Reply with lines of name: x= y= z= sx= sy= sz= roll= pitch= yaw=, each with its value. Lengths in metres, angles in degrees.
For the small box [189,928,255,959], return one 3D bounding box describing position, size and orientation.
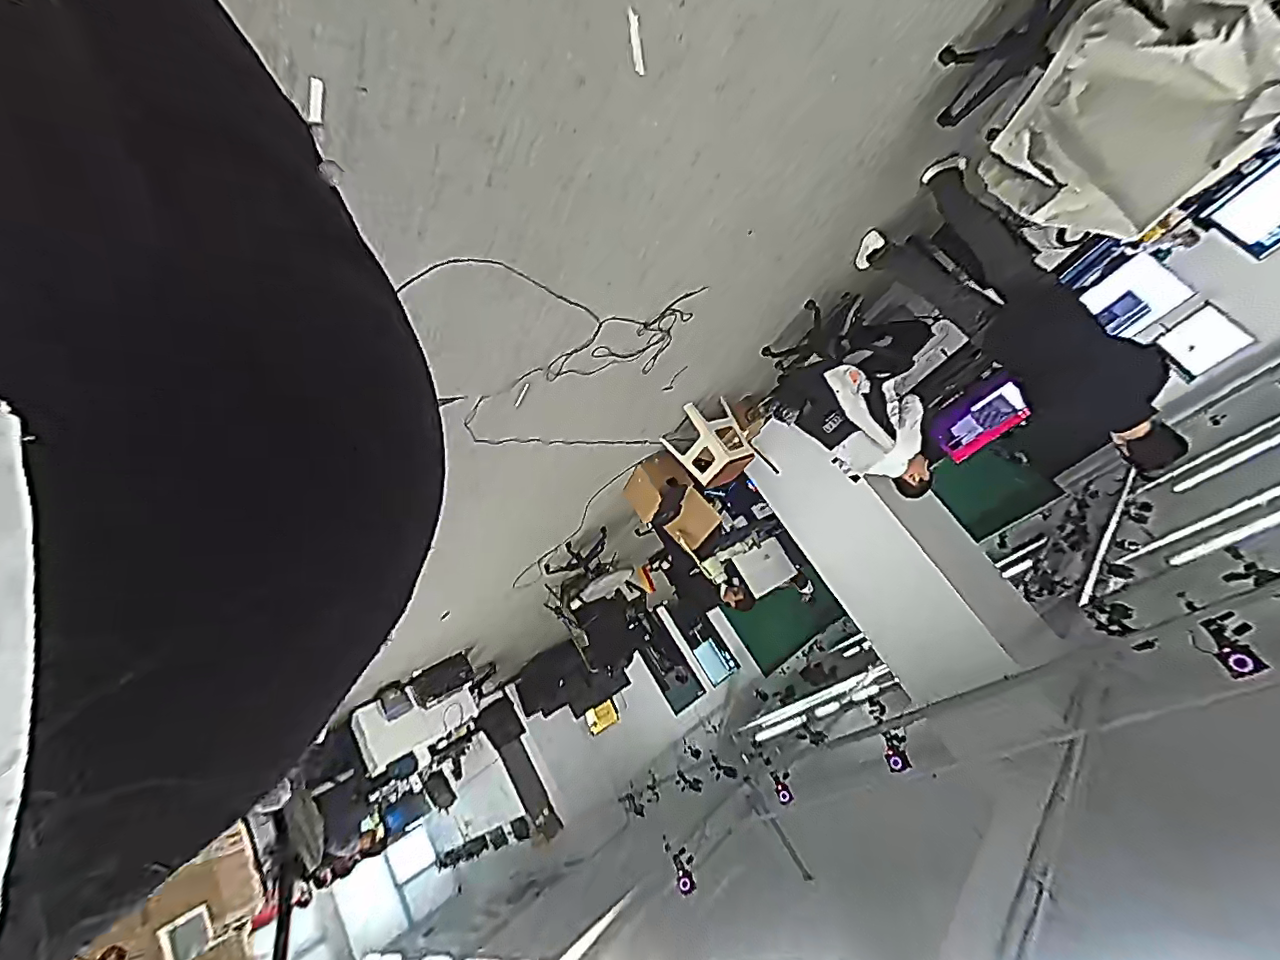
small box: x=-1.321 y=1.557 z=1.702 sx=0.168 sy=0.176 sz=0.179 roll=-17 pitch=158 yaw=-38
